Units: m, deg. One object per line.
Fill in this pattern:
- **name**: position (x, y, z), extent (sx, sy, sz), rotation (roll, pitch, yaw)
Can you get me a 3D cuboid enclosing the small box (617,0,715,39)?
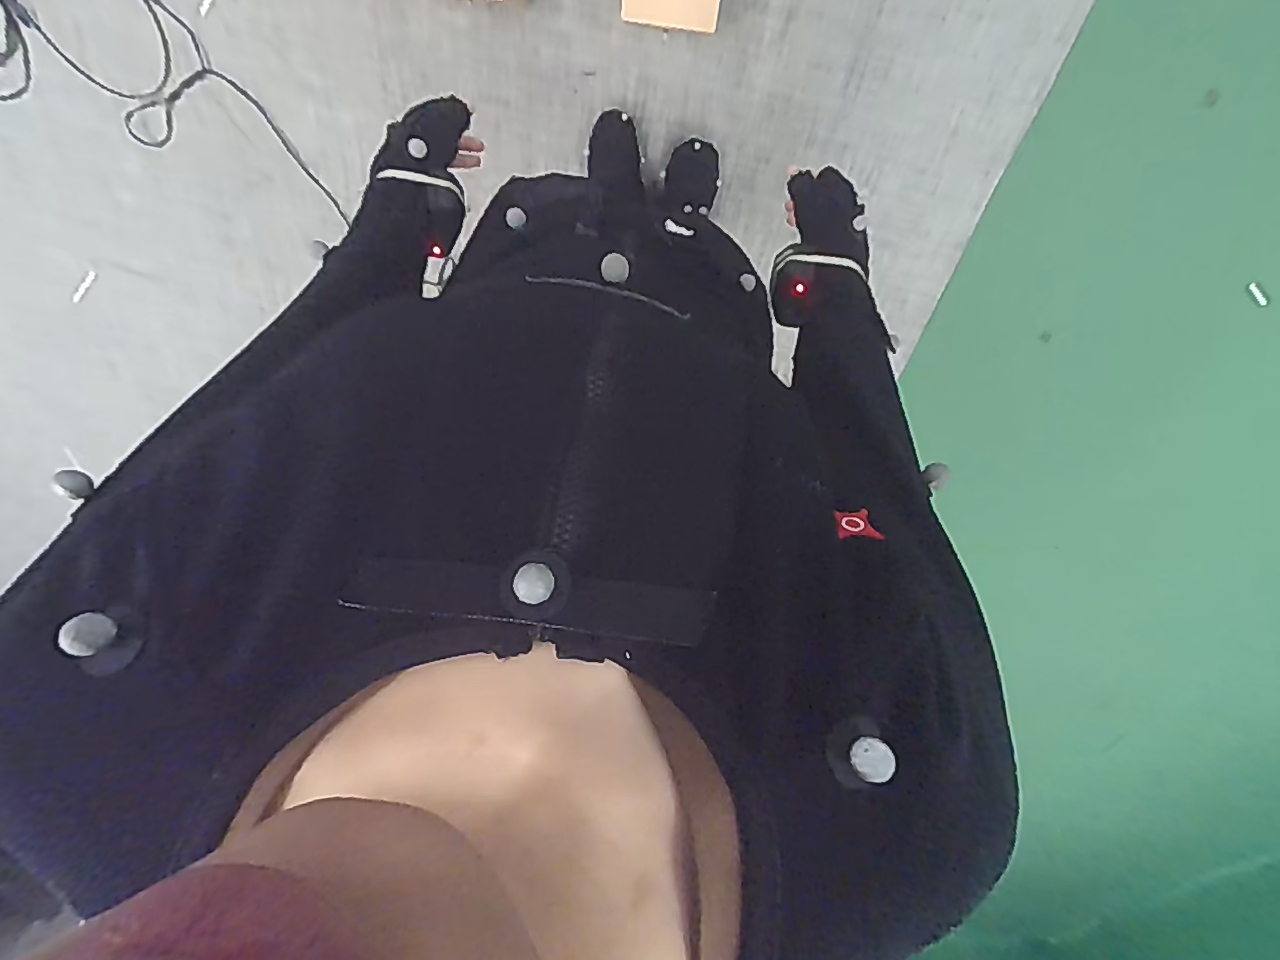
- **small box**: position (0.057, -0.896, 0.947), extent (0.168, 0.176, 0.179), rotation (7, 127, -1)
